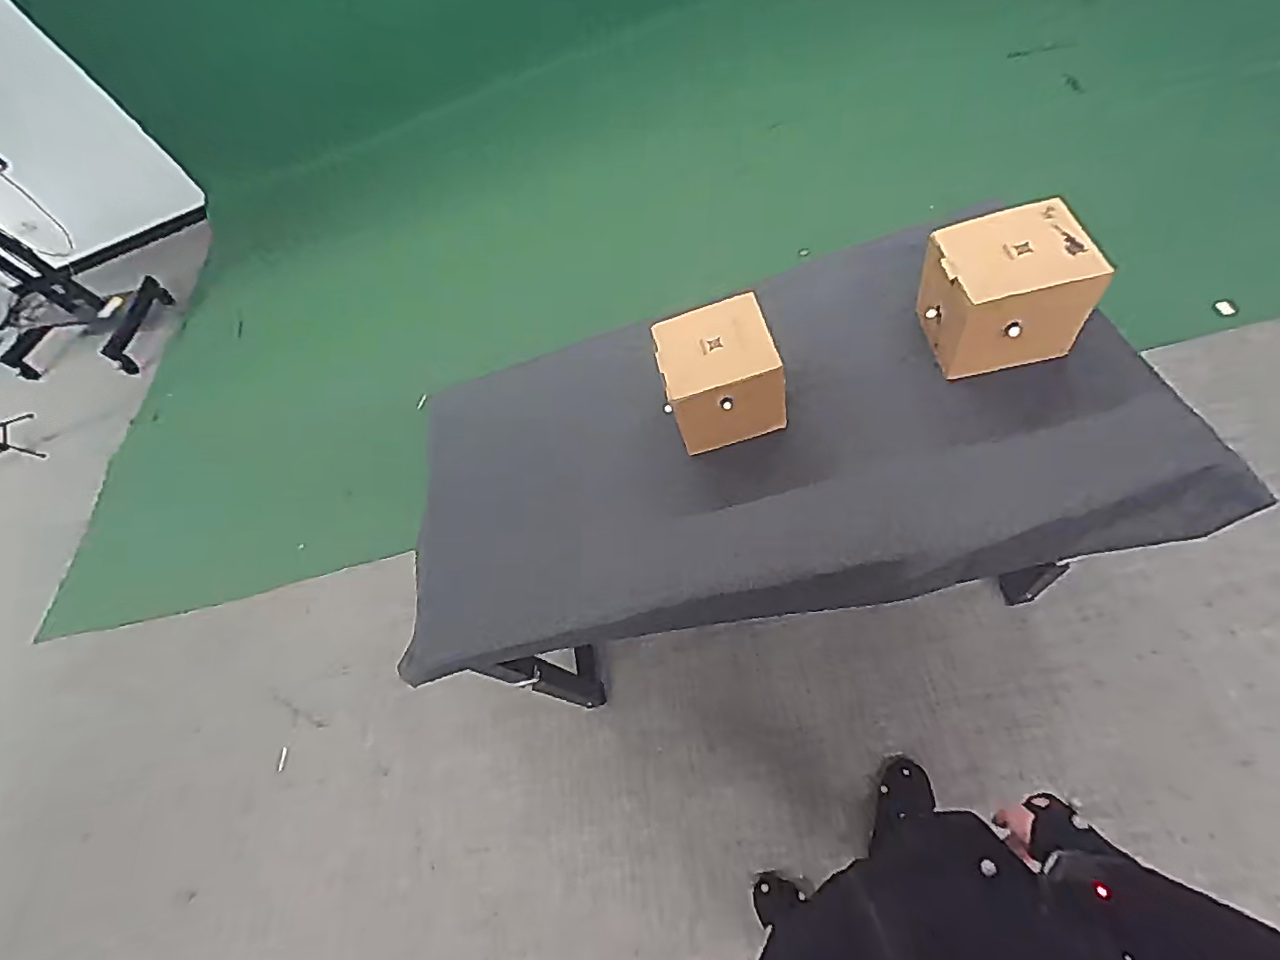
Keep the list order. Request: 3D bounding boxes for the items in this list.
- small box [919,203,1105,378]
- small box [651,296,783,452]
[{"bbox_3d":[0.548,-0.280,0.832,0.179,0.176,0.168,-11,60,13],"label":"small box"},{"bbox_3d":[0.132,-0.169,0.909,0.179,0.176,0.168,-16,60,7],"label":"small box"}]
